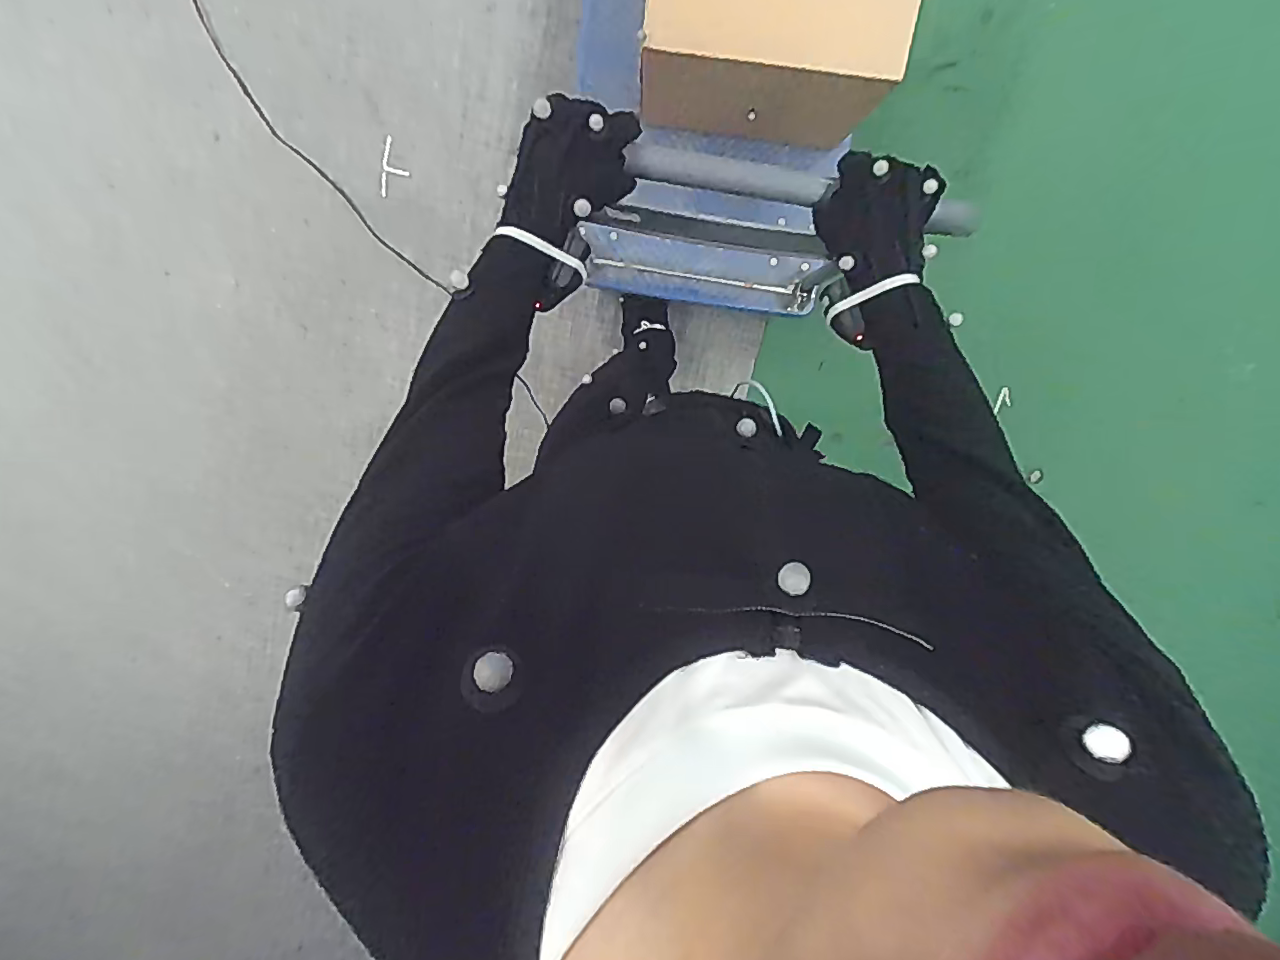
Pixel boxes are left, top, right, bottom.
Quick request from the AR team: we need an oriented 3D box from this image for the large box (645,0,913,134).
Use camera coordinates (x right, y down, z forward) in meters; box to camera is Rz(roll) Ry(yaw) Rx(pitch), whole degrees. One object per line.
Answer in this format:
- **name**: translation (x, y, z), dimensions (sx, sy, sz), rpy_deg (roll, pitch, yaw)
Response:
- **large box**: translation (0.224, -0.835, 0.938), dimensions (0.408, 0.320, 0.320), rpy_deg (6, 105, 0)
